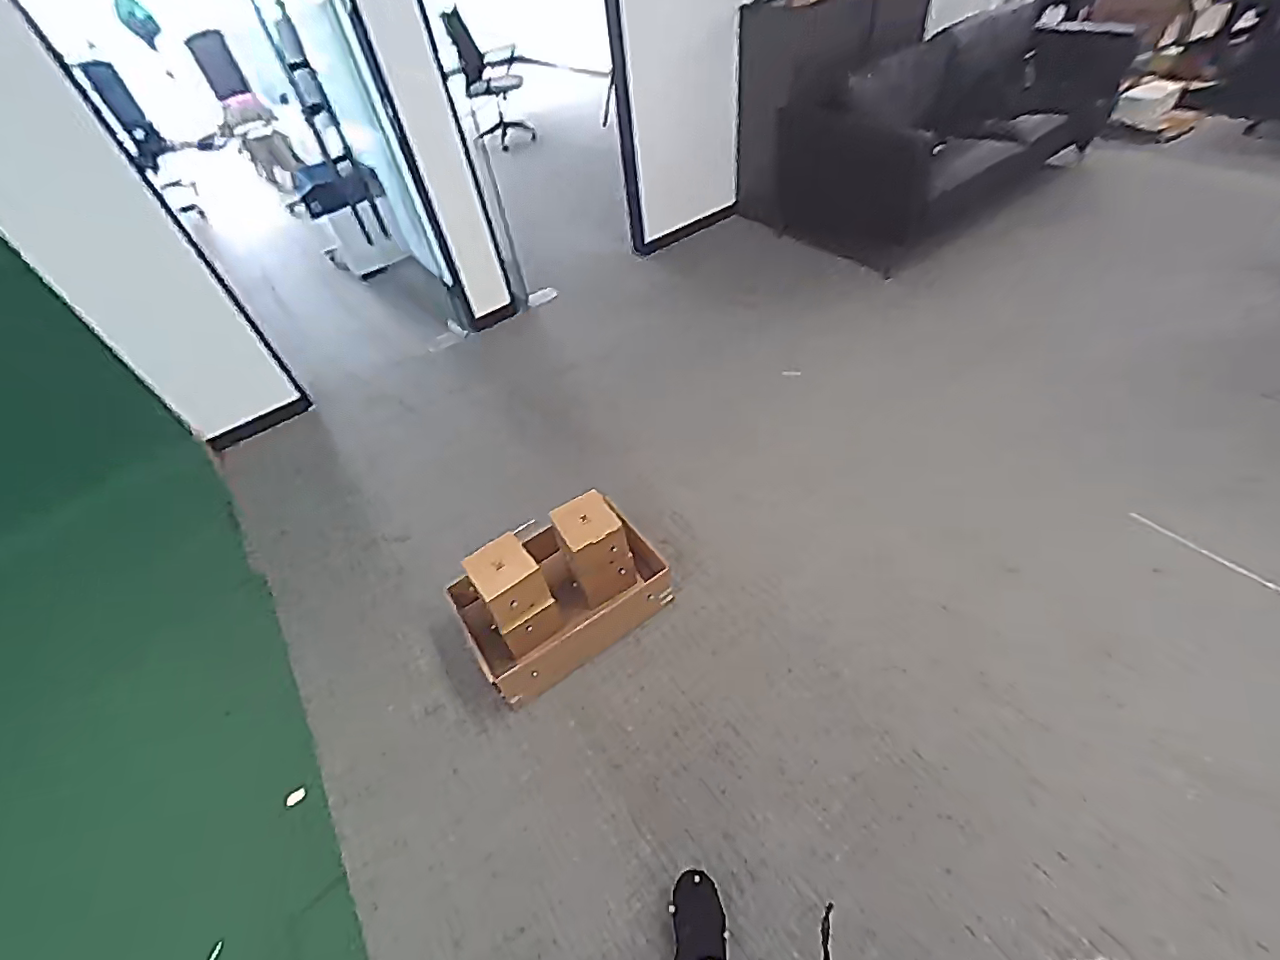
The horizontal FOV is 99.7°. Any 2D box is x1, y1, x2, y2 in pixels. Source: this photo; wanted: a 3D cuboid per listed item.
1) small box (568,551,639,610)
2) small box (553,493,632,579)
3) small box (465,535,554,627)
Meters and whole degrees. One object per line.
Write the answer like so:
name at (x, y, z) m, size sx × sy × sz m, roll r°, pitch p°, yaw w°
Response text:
small box at (-0.115, 0.287, 1.760) m, size 0.179 × 0.176 × 0.168 m, roll -28°, pitch 50°, yaw -15°
small box at (-0.139, 0.178, 1.642) m, size 0.168 × 0.176 × 0.179 m, roll -27°, pitch 49°, yaw -17°
small box at (-0.372, 0.300, 1.568) m, size 0.168 × 0.176 × 0.179 m, roll -33°, pitch 51°, yaw -21°
